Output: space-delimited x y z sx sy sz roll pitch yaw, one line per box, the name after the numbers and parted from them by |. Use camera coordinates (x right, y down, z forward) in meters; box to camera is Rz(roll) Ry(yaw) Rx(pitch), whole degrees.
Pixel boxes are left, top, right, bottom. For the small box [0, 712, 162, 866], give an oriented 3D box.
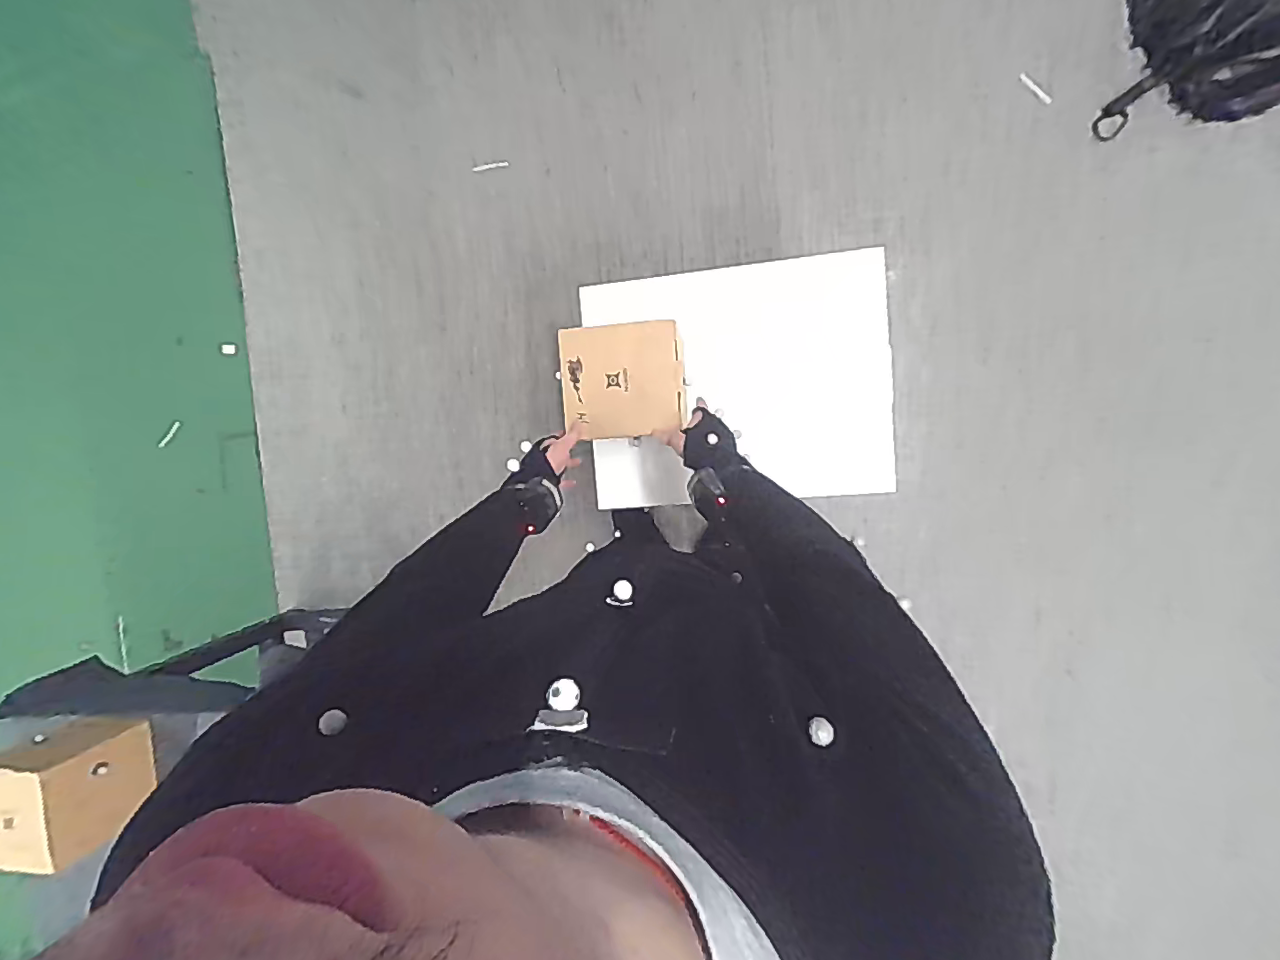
-1.008 0.536 0.961 0.168 0.176 0.179 -3 96 11 | small box

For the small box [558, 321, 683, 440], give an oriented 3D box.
-0.021 -0.151 0.863 0.179 0.176 0.168 -3 94 8 | small box
